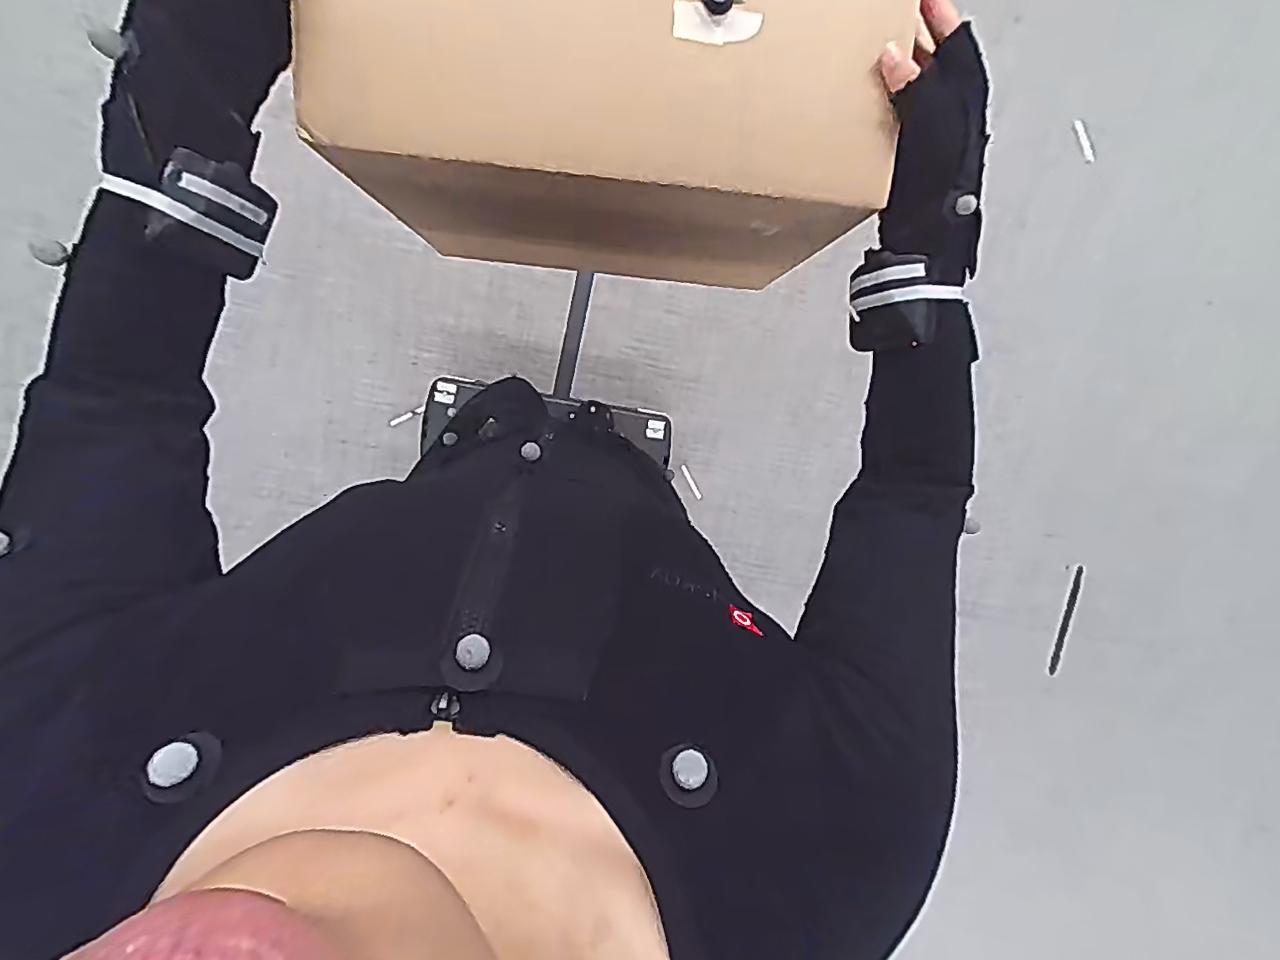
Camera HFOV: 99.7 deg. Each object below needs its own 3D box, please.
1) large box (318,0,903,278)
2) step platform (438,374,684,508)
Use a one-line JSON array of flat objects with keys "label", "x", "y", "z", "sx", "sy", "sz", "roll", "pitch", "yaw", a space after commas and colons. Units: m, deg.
[{"label": "large box", "x": -0.022, "y": -0.394, "z": 0.507, "sx": 0.408, "sy": 0.320, "sz": 0.320, "roll": 4, "pitch": 100, "yaw": -5}, {"label": "step platform", "x": -0.218, "y": -0.110, "z": 1.553, "sx": 0.684, "sy": 0.204, "sz": 0.286, "roll": 9, "pitch": 97, "yaw": -7}]
